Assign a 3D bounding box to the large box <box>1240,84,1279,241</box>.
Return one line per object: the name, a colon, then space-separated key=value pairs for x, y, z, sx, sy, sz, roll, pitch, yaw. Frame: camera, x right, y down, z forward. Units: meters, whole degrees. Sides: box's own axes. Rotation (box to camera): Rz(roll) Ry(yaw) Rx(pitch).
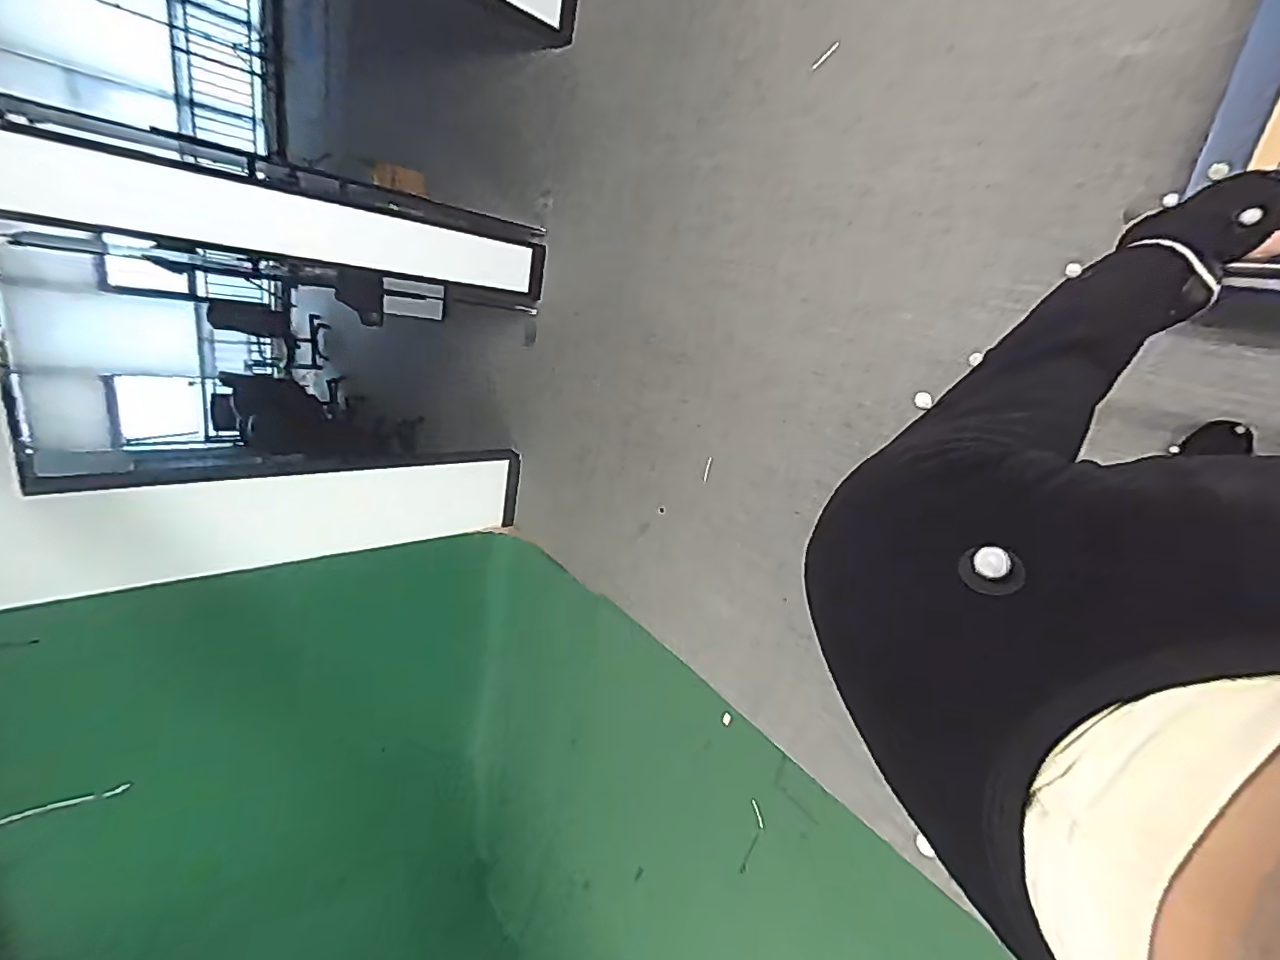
large box: x=1.105 y=-0.565 z=0.721 sx=0.320 sy=0.320 sz=0.408 roll=26 pitch=113 yaw=43
